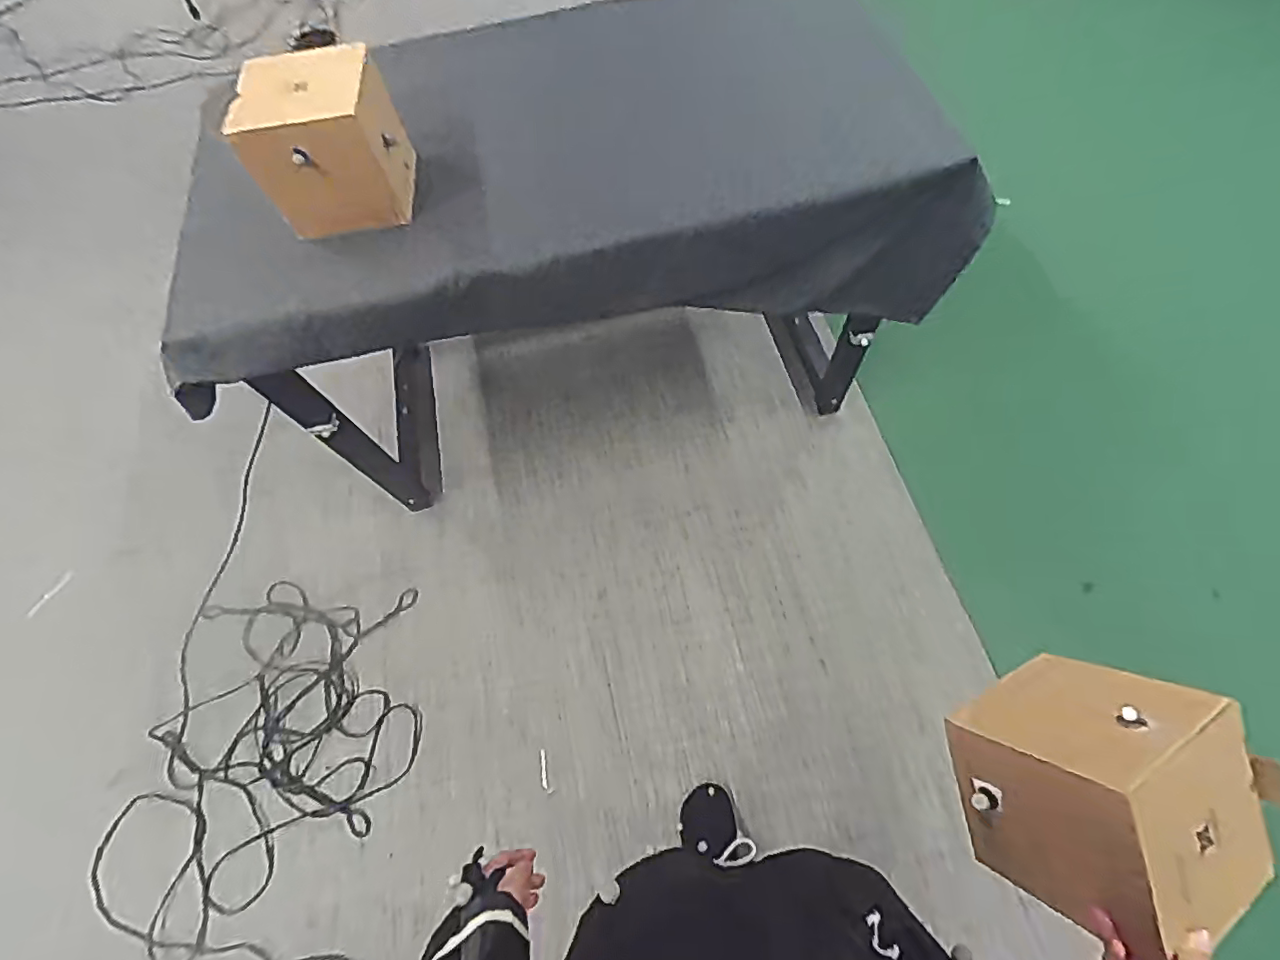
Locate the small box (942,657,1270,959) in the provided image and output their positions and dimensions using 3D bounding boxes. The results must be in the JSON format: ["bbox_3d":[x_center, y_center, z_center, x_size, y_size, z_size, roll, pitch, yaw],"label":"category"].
[{"bbox_3d":[0.436,0.293,0.522,0.179,0.176,0.168,-18,93,-21],"label":"small box"}]

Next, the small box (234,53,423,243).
[{"bbox_3d":[-0.439,-0.480,0.796,0.179,0.176,0.168,-8,64,0],"label":"small box"}]
